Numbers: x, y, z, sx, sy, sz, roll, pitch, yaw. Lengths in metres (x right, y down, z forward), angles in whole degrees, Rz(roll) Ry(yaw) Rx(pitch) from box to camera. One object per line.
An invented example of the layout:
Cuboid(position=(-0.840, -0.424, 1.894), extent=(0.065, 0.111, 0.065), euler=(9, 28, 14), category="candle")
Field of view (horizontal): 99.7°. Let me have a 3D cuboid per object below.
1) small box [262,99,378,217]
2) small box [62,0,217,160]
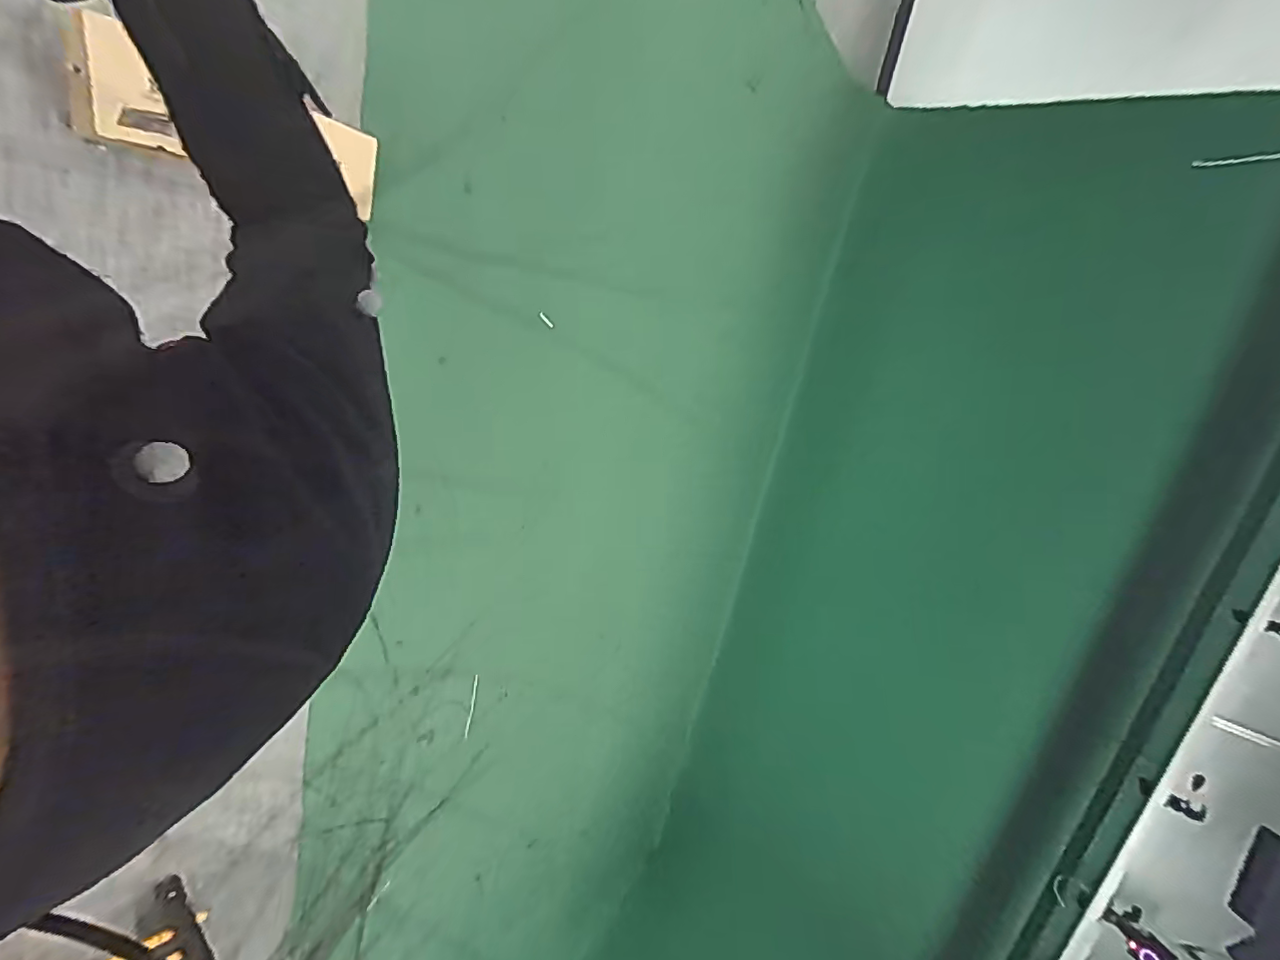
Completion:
Cuboid(position=(-0.706, -0.700, 1.190), extent=(0.168, 0.176, 0.179), euler=(-7, 115, -53), category="small box")
Cuboid(position=(-0.876, -0.685, 0.951), extent=(0.168, 0.176, 0.179), euler=(-13, 119, -52), category="small box")
